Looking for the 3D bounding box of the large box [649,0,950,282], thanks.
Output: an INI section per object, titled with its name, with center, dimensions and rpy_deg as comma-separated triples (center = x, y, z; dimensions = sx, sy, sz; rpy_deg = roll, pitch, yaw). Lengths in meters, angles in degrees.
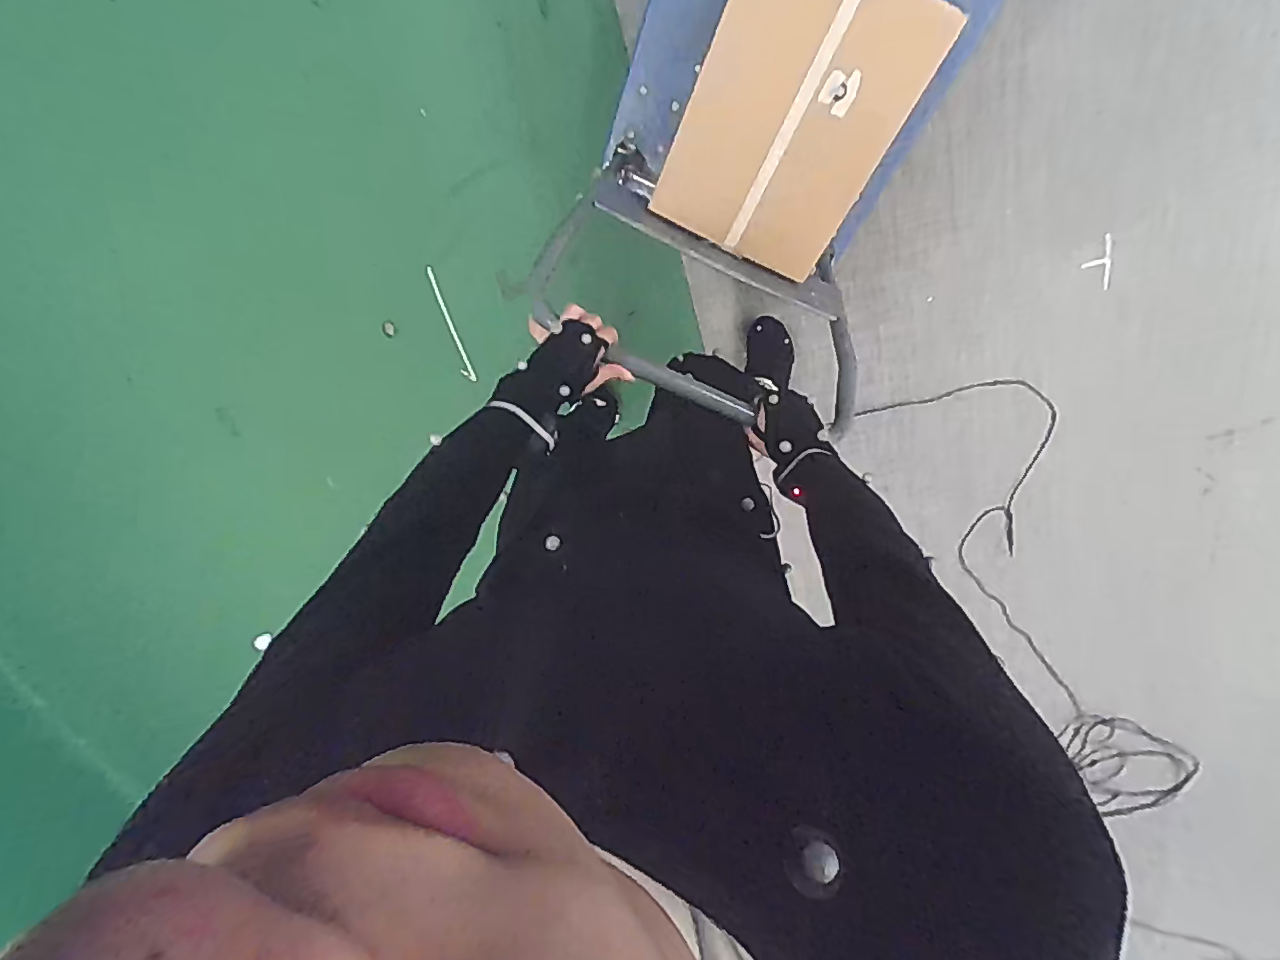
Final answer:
[large box]
center = 0.250, -0.648, 0.976
dimensions = 0.320, 0.320, 0.408
rpy_deg = 24, 129, -8
